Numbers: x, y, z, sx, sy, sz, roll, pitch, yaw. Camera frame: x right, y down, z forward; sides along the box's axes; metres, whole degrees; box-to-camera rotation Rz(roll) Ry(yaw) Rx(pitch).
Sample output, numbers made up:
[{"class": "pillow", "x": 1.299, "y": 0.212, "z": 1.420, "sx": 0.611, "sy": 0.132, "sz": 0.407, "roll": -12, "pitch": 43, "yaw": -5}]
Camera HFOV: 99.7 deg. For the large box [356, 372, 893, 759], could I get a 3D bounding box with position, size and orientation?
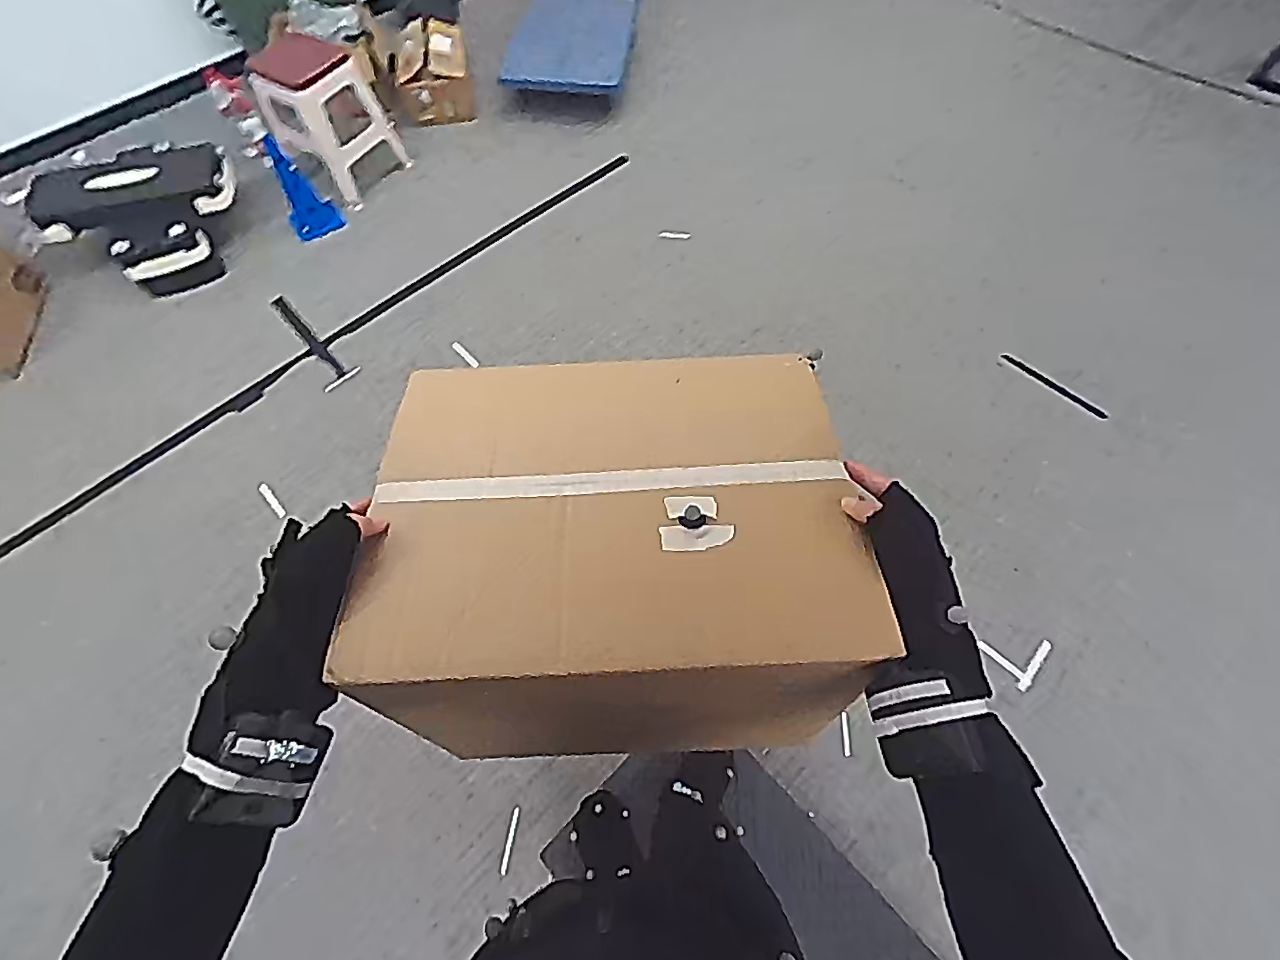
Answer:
[{"class": "large box", "x": -0.014, "y": 0.105, "z": 0.600, "sx": 0.408, "sy": 0.320, "sz": 0.320, "roll": -2, "pitch": 54, "yaw": 0}]
